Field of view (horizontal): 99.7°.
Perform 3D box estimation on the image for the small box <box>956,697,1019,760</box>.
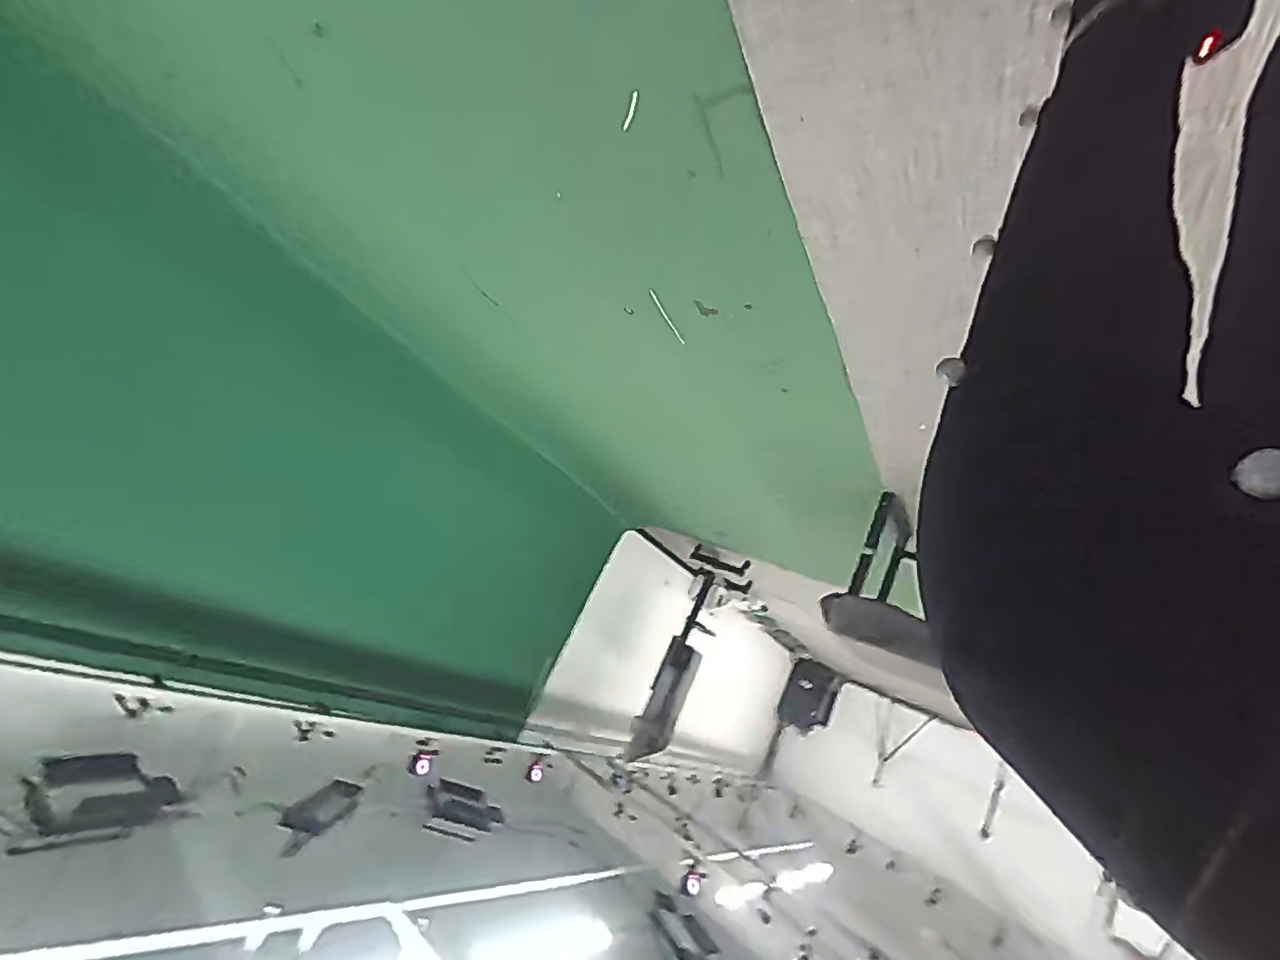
[{"bbox_3d":[1.366,0.968,2.123,0.179,0.176,0.168,12,161,40],"label":"small box"}]
